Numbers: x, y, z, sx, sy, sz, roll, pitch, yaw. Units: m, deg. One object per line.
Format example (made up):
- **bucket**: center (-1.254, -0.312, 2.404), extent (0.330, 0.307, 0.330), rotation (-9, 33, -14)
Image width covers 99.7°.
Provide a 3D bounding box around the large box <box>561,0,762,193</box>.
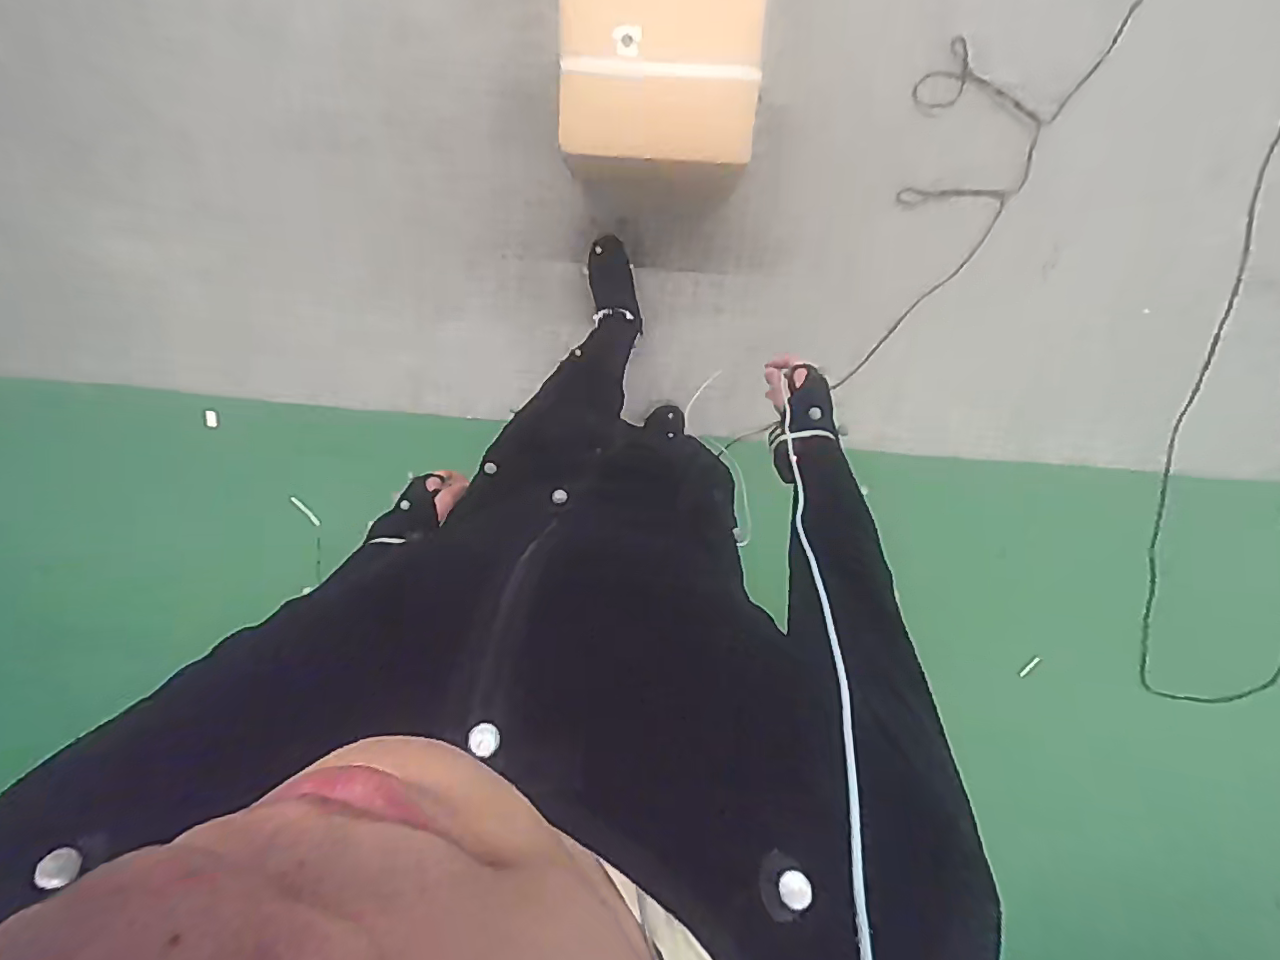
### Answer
- **large box**: center (0.046, -0.861, 1.239), extent (0.408, 0.320, 0.320), rotation (3, 106, 2)
